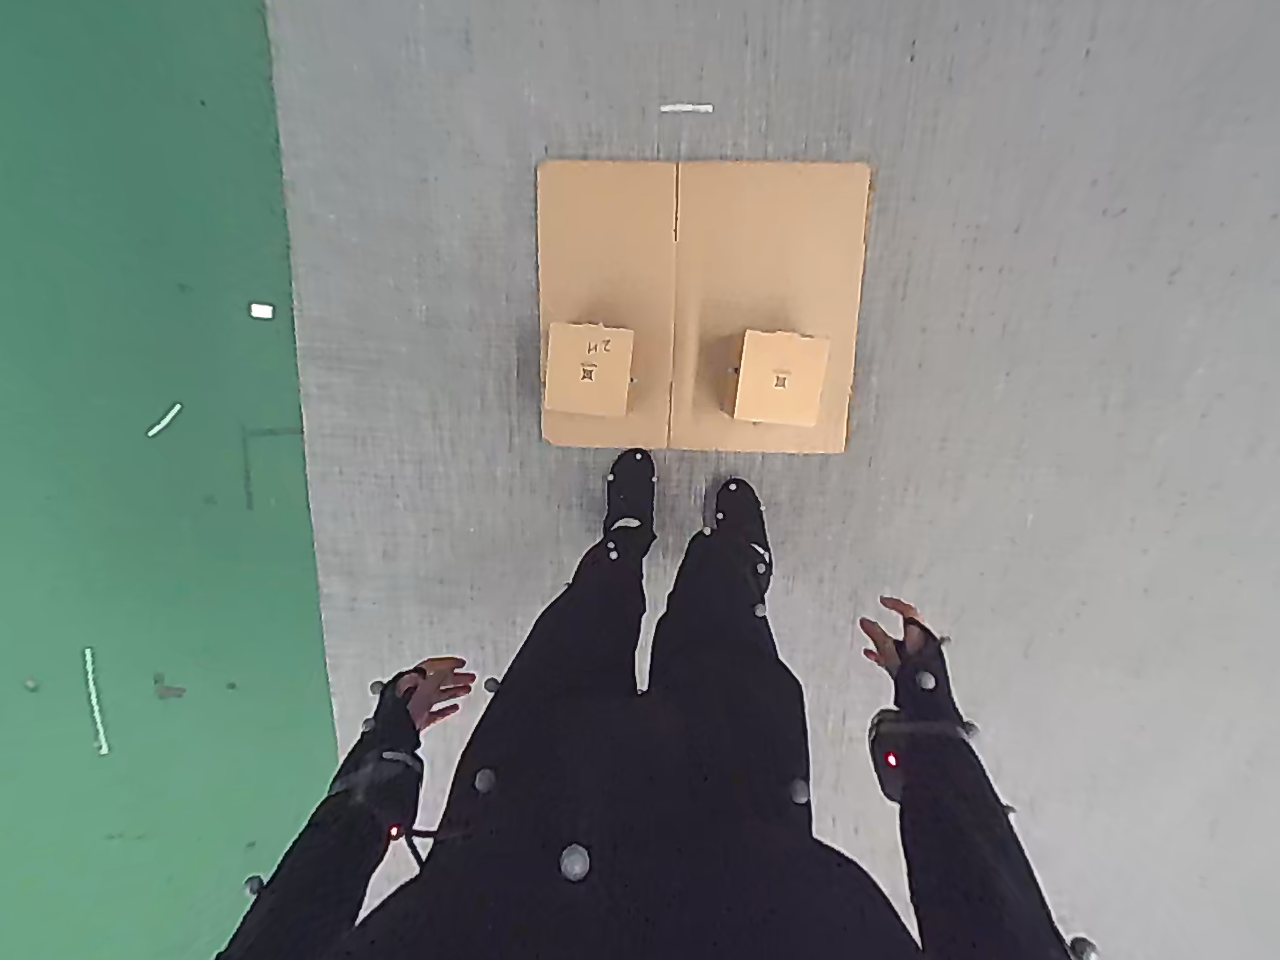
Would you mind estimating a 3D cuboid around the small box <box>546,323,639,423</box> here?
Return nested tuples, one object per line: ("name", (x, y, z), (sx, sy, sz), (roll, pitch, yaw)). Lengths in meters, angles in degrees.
("small box", (-0.094, -0.223, 1.133), (0.168, 0.176, 0.179), (7, 101, 0))

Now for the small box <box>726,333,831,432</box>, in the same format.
("small box", (0.277, -0.202, 1.121), (0.168, 0.176, 0.179), (6, 100, 1))
